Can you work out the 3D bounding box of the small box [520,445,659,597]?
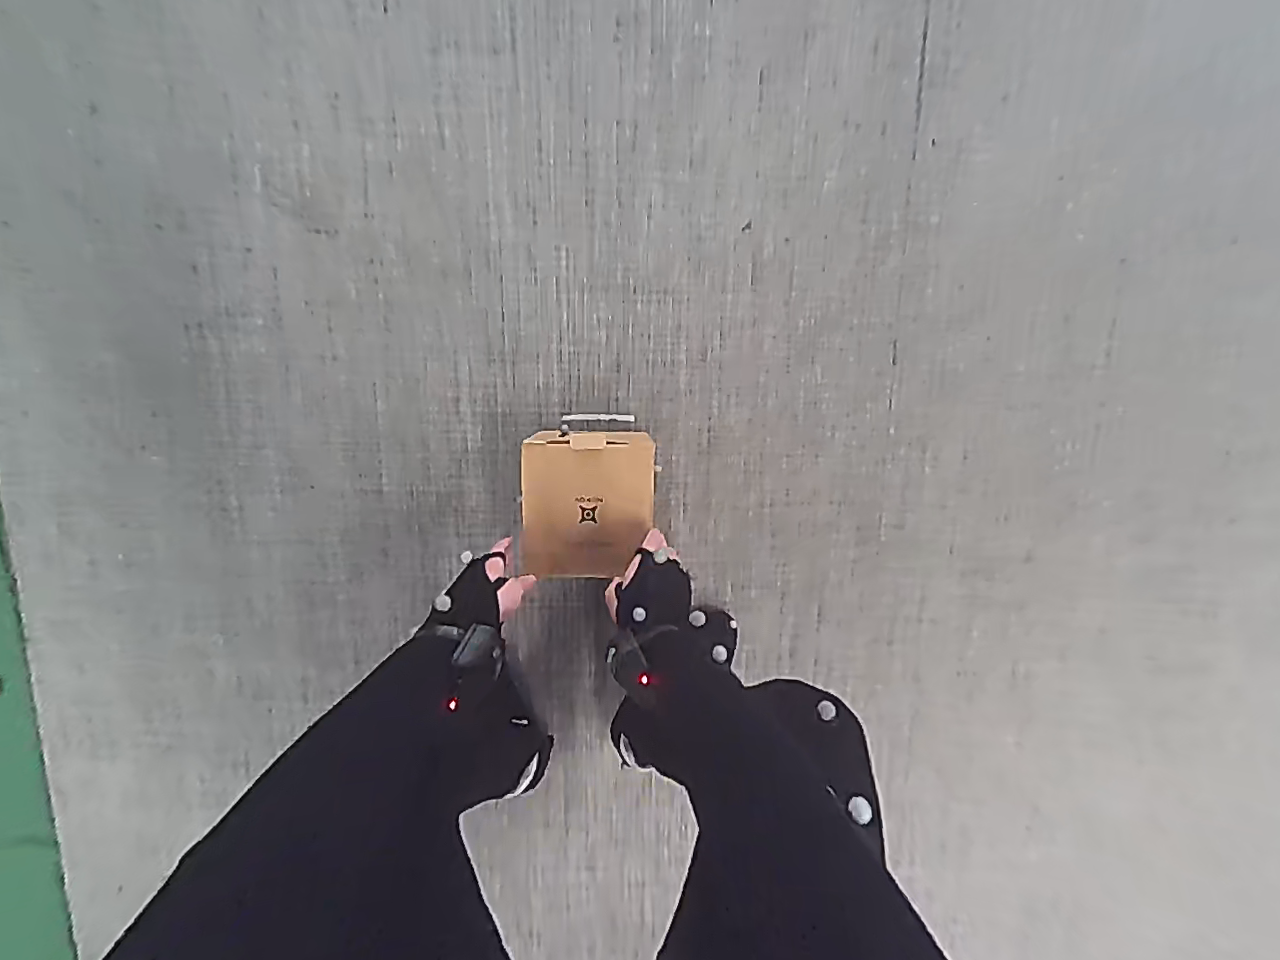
[{"bbox_3d":[-0.065,0.046,0.740,0.168,0.176,0.179,3,98,-1],"label":"small box"}]
